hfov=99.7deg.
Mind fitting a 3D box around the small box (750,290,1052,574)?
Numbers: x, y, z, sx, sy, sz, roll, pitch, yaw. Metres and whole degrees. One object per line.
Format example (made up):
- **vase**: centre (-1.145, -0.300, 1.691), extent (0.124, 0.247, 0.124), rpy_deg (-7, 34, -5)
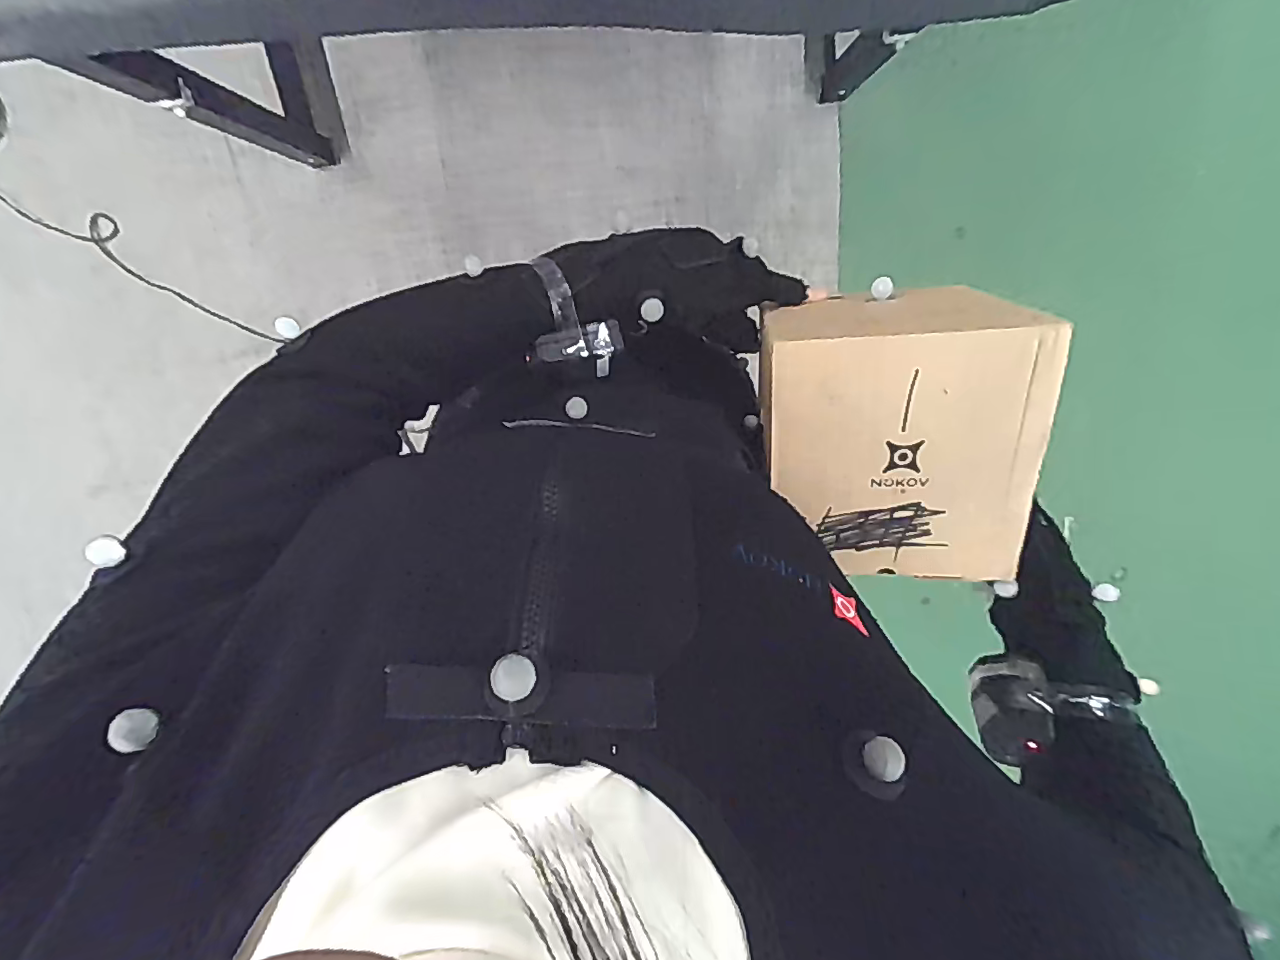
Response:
- **small box**: centre (0.176, -0.047, 0.432), extent (0.168, 0.176, 0.179), rpy_deg (0, 116, 9)
